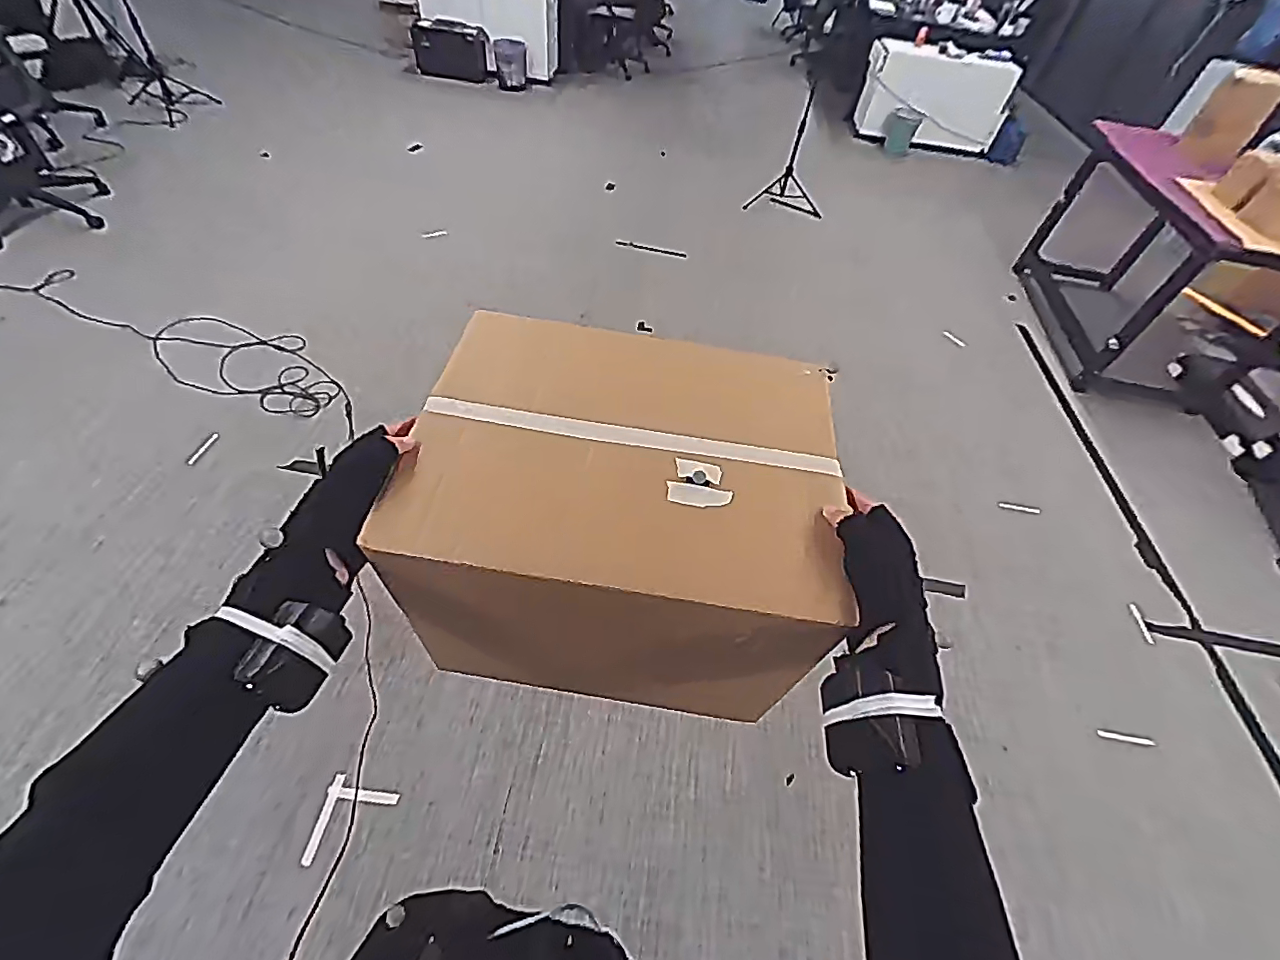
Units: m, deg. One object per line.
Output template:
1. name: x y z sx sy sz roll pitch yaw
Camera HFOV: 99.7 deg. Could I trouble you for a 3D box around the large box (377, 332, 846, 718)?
1. large box: -0.023 0.065 0.653 0.408 0.320 0.320 9 53 0
